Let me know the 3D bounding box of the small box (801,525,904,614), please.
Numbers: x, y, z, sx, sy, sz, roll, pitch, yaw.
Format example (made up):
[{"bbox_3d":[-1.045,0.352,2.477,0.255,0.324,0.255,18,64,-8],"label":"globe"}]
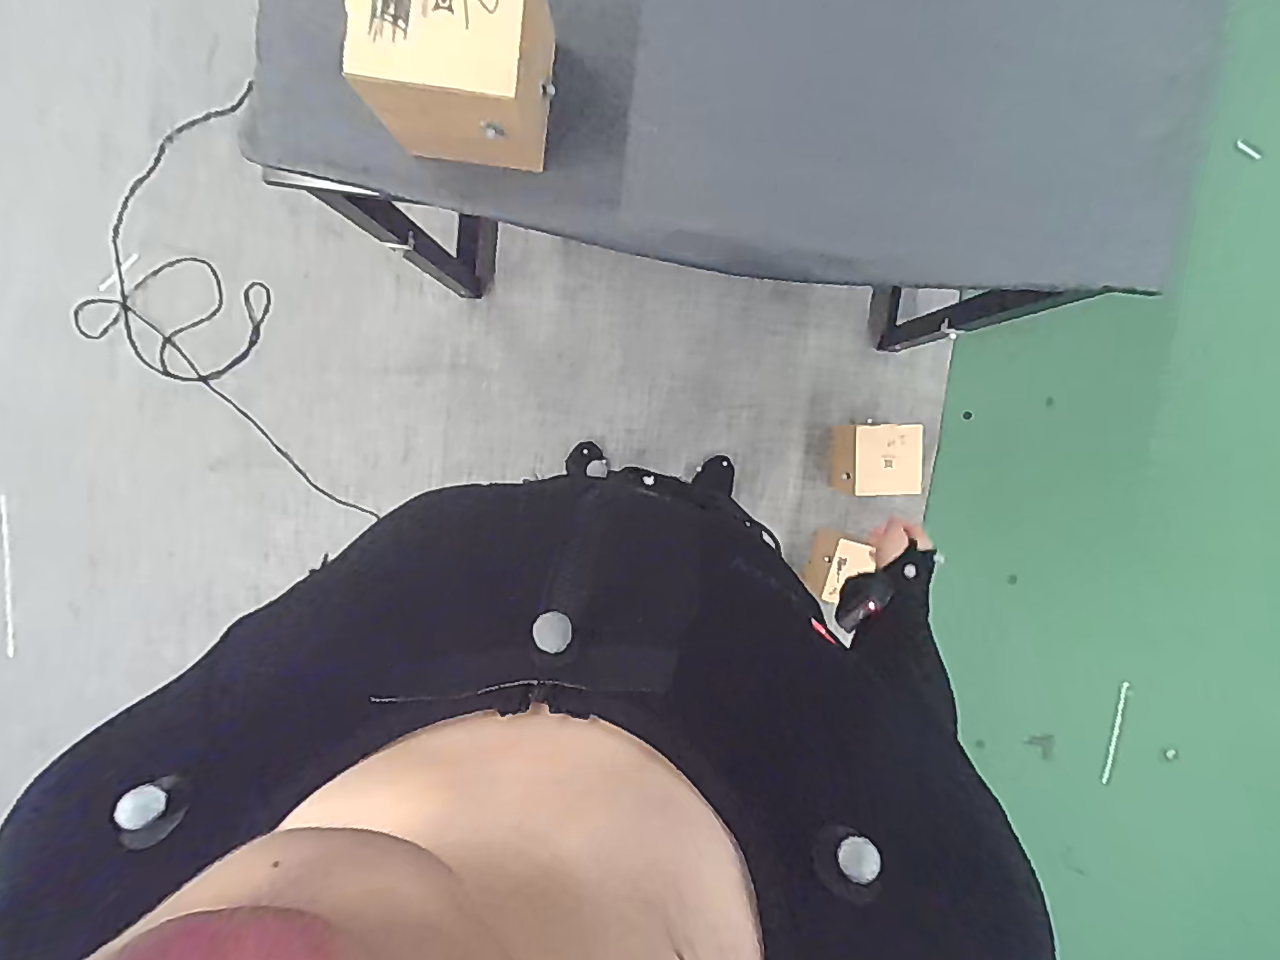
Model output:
[{"bbox_3d":[0.552,0.227,1.426,0.179,0.176,0.168,16,97,-2],"label":"small box"}]

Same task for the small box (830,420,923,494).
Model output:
[{"bbox_3d":[0.601,-0.063,1.392,0.168,0.176,0.179,-1,97,-1],"label":"small box"}]
